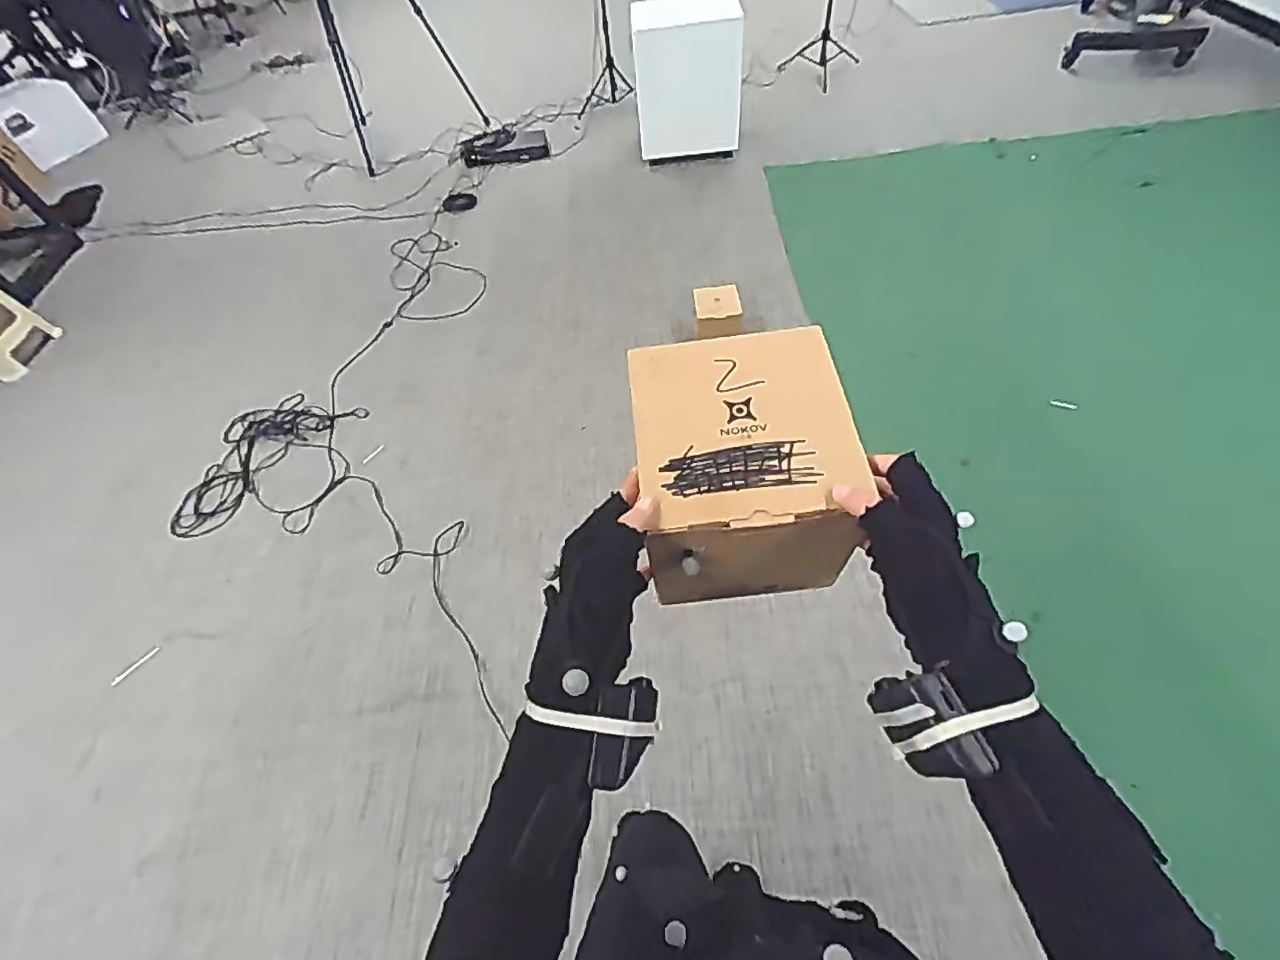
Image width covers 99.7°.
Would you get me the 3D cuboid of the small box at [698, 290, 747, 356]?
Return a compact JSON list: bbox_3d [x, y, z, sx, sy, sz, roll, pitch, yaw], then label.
[{"bbox_3d":[0.312,-0.601,2.072,0.168,0.176,0.179,-5,55,4],"label":"small box"}]
